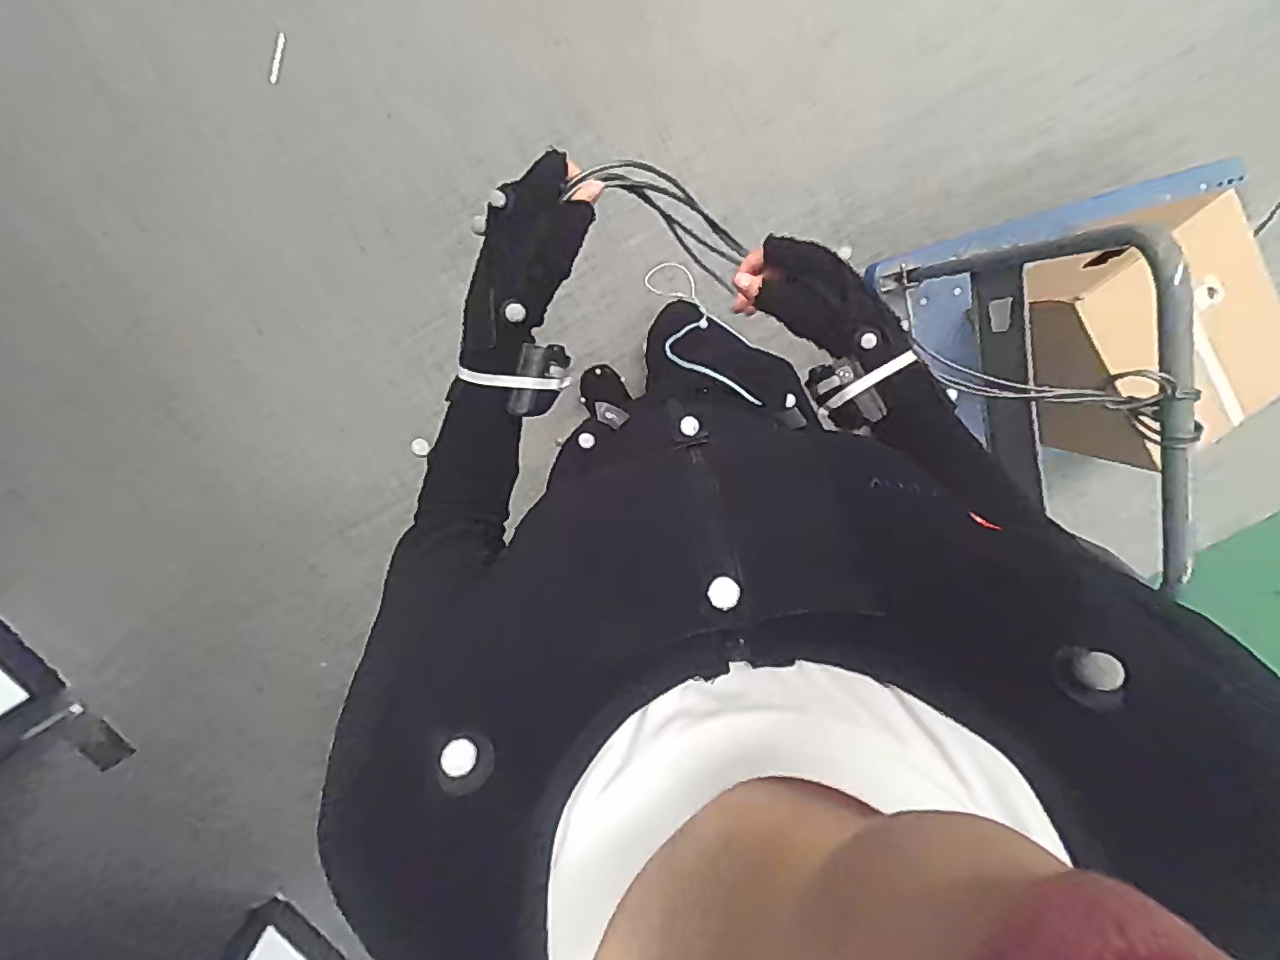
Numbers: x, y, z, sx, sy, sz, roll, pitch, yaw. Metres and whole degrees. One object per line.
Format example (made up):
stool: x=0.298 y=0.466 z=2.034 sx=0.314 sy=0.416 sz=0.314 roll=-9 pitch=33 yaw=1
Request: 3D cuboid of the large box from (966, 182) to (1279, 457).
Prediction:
large box: x=0.998 y=-0.318 z=1.142 sx=0.320 sy=0.320 sz=0.408 roll=-38 pitch=103 yaw=6
